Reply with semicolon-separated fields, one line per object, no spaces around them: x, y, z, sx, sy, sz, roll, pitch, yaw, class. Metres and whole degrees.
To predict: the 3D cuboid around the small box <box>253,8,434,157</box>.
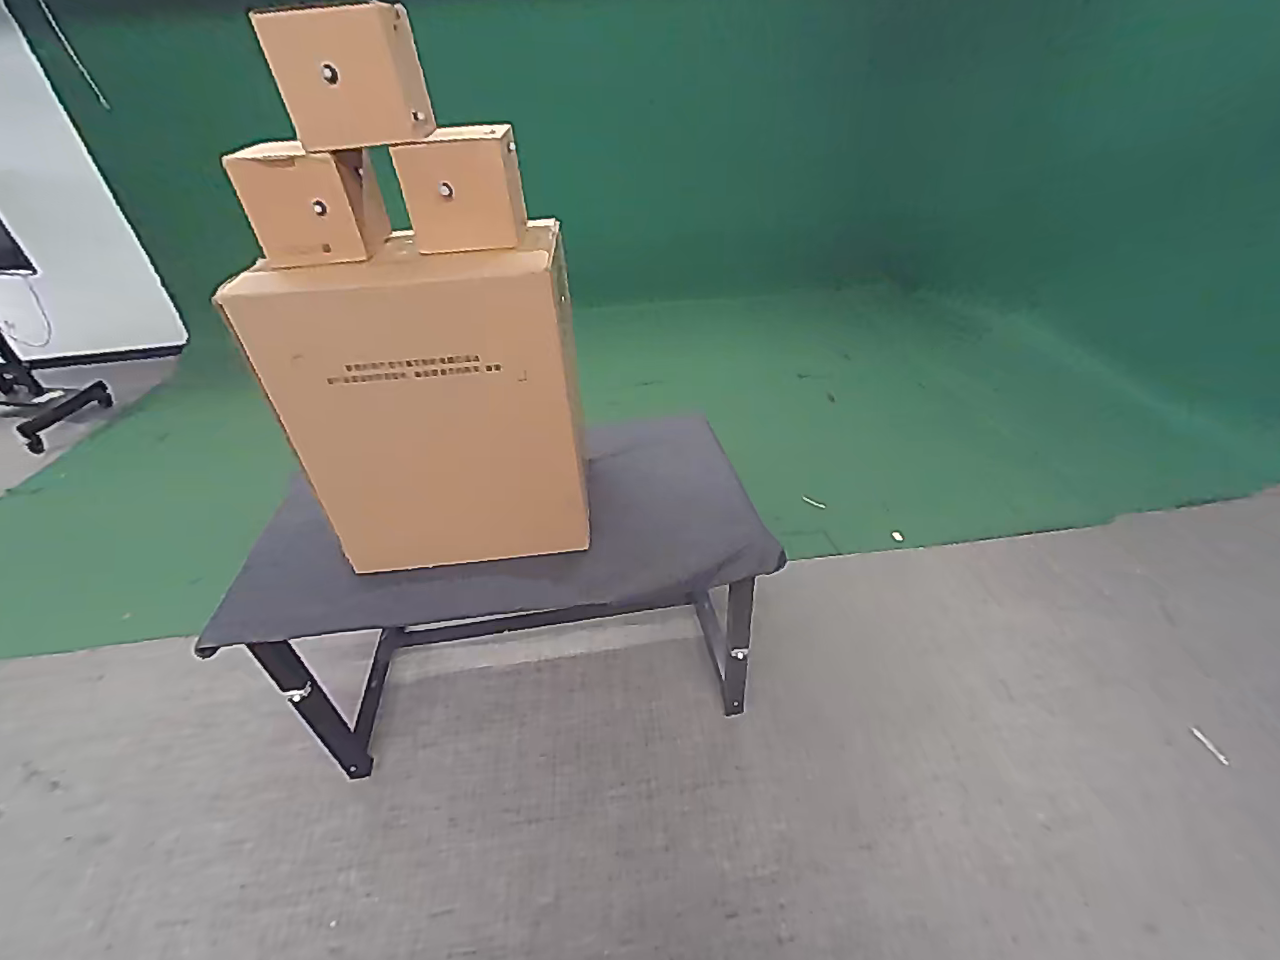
-0.444;-0.623;0.851;0.179;0.176;0.168;-8;39;-2;small box

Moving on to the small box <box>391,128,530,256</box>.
-0.306;-0.509;0.959;0.179;0.176;0.168;-6;40;-1;small box

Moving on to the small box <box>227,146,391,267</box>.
-0.561;-0.481;0.950;0.168;0.176;0.179;-5;38;-4;small box
